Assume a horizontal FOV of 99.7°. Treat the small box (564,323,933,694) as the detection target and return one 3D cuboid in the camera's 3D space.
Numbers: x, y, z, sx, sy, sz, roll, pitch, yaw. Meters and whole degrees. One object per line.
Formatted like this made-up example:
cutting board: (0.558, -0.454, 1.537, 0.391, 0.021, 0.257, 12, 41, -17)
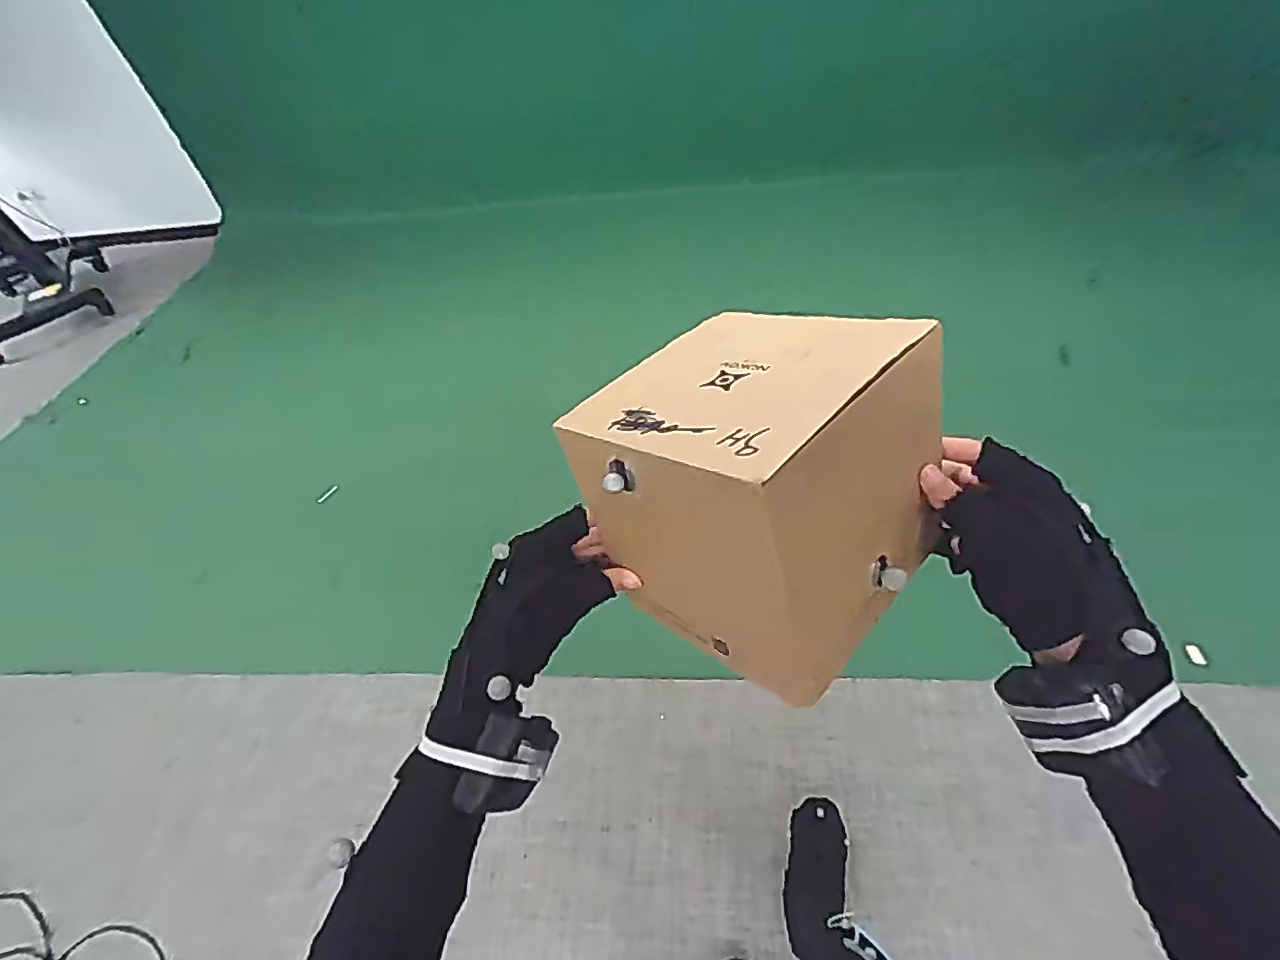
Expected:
small box: (0.082, 0.004, 0.378, 0.179, 0.176, 0.168, -37, 35, -28)
